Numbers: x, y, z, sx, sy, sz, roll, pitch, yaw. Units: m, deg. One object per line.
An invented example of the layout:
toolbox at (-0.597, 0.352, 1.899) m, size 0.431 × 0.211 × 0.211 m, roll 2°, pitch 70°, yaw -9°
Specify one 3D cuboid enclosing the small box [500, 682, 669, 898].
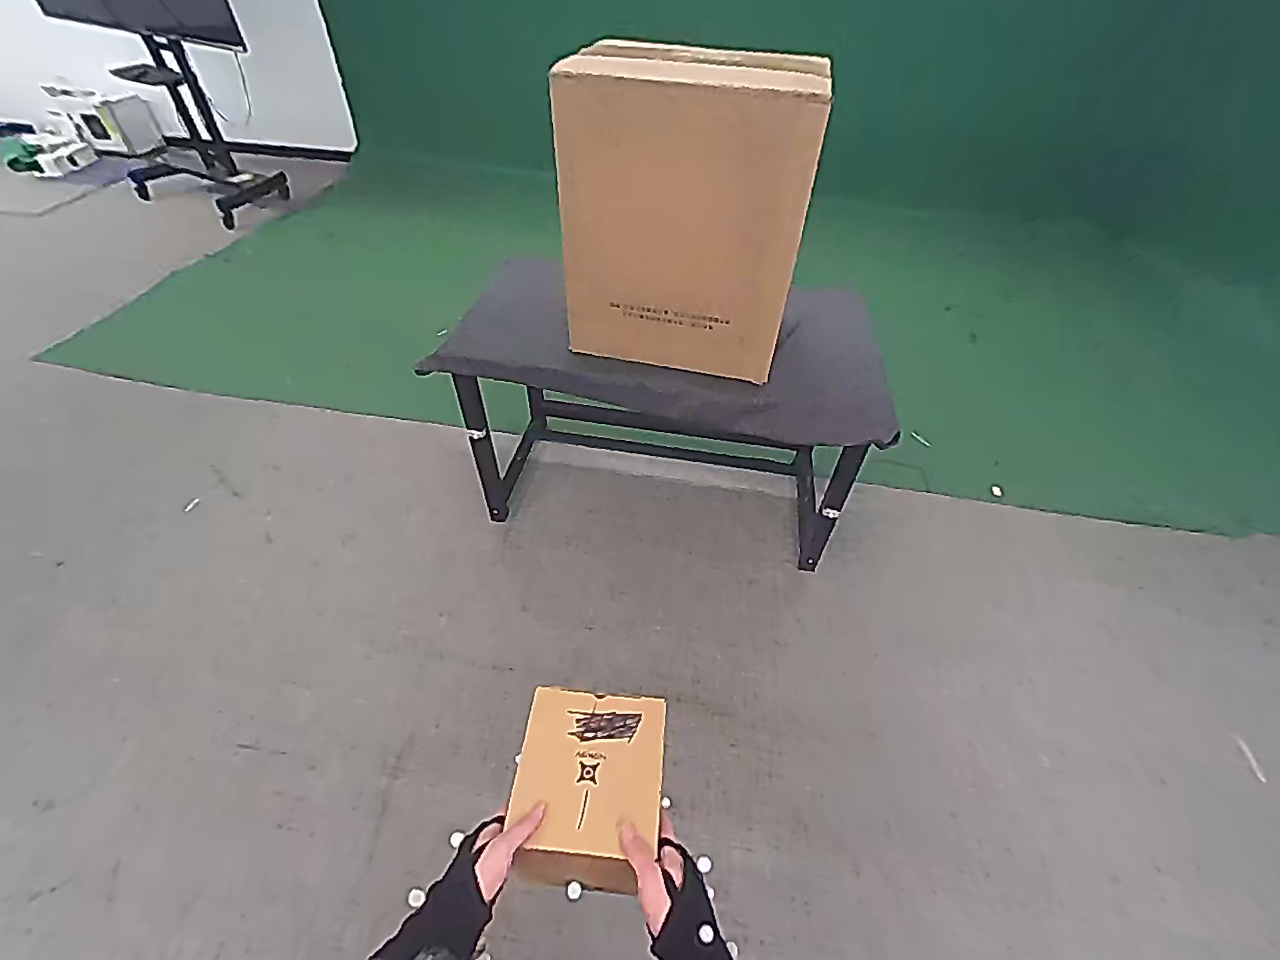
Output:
small box at (-0.059, 0.382, 0.670) m, size 0.168 × 0.176 × 0.179 m, roll 7°, pitch 43°, yaw 4°
